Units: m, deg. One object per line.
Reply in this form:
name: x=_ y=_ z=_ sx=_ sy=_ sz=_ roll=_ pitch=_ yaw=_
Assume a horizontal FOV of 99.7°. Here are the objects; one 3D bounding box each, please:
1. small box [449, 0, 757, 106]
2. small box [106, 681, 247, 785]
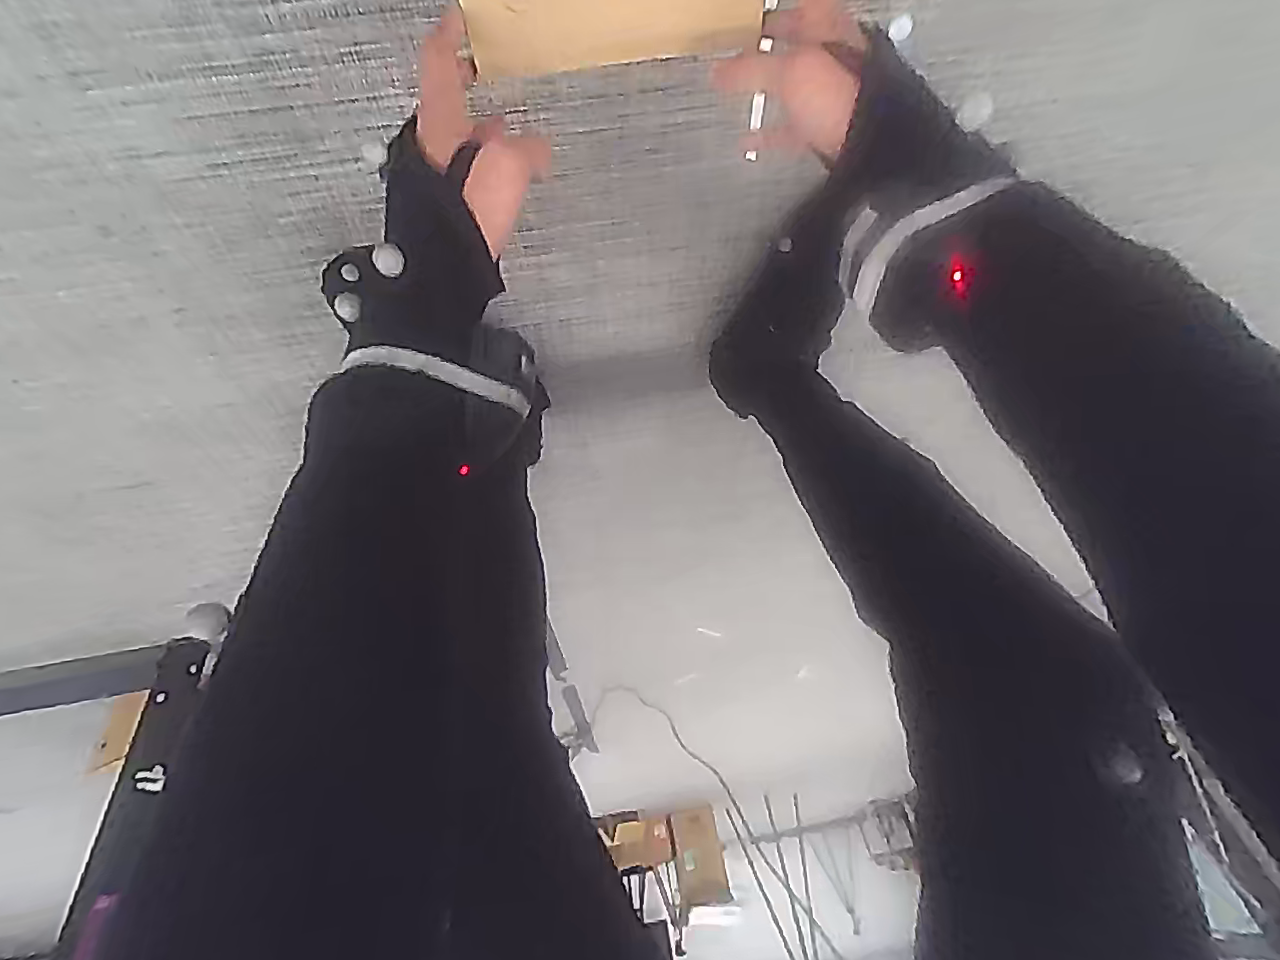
small box: x=-0.035 y=-0.355 z=0.317 sx=0.179 sy=0.176 sz=0.168 roll=-11 pitch=143 yaw=-2
small box: x=-1.035 y=0.575 z=1.225 sx=0.179 sy=0.176 sz=0.168 roll=-27 pitch=141 yaw=20
